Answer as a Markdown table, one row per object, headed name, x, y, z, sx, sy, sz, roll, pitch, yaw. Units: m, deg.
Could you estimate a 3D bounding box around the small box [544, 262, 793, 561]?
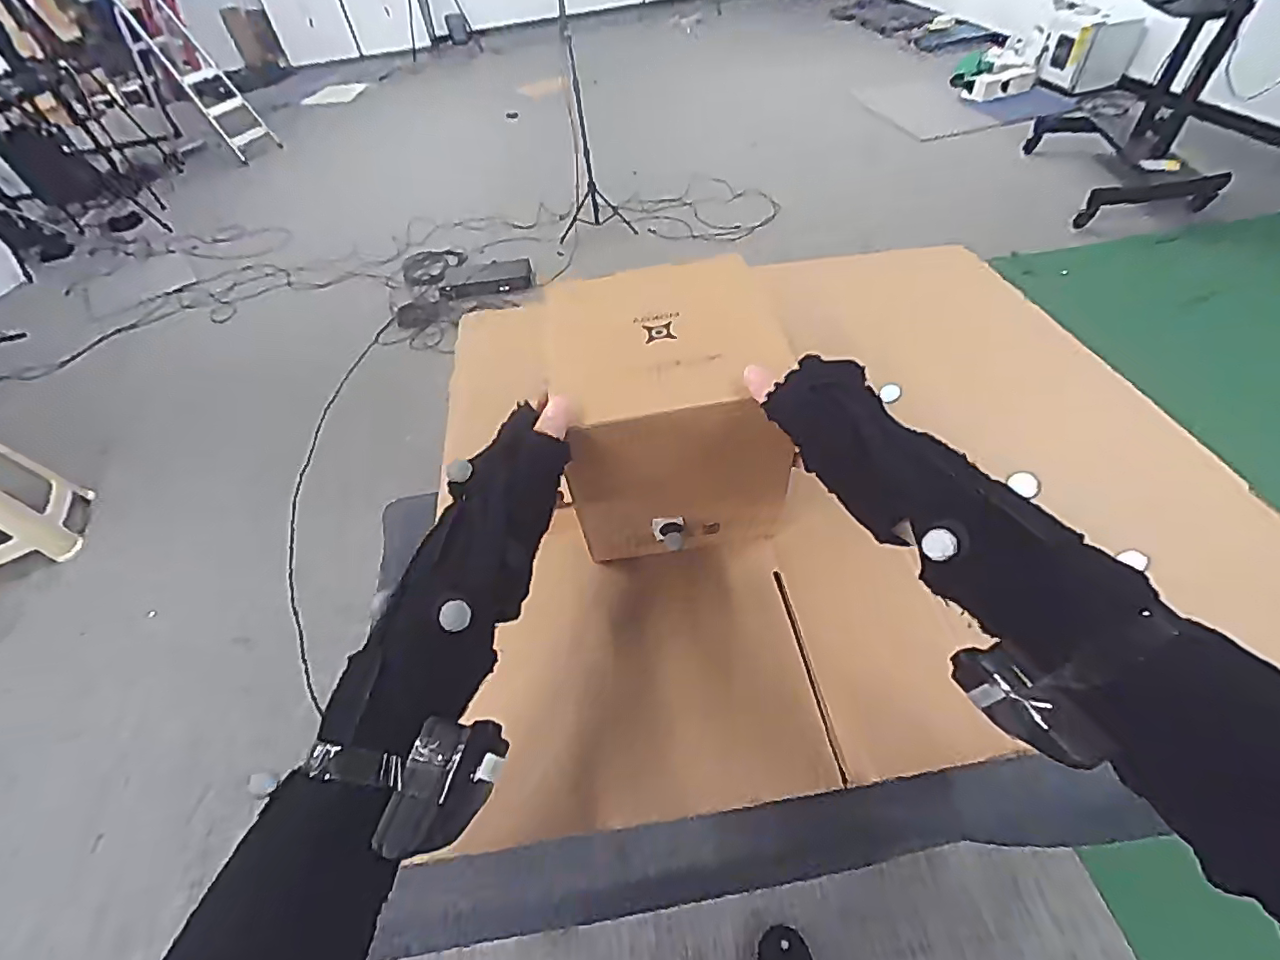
| name | x | y | z | sx | sy | sz | roll | pitch | yaw |
| --- | --- | --- | --- | --- | --- | --- | --- | --- | --- |
| small box | 0.017 | -0.056 | 0.463 | 0.168 | 0.176 | 0.179 | -9 | 51 | 0 |
